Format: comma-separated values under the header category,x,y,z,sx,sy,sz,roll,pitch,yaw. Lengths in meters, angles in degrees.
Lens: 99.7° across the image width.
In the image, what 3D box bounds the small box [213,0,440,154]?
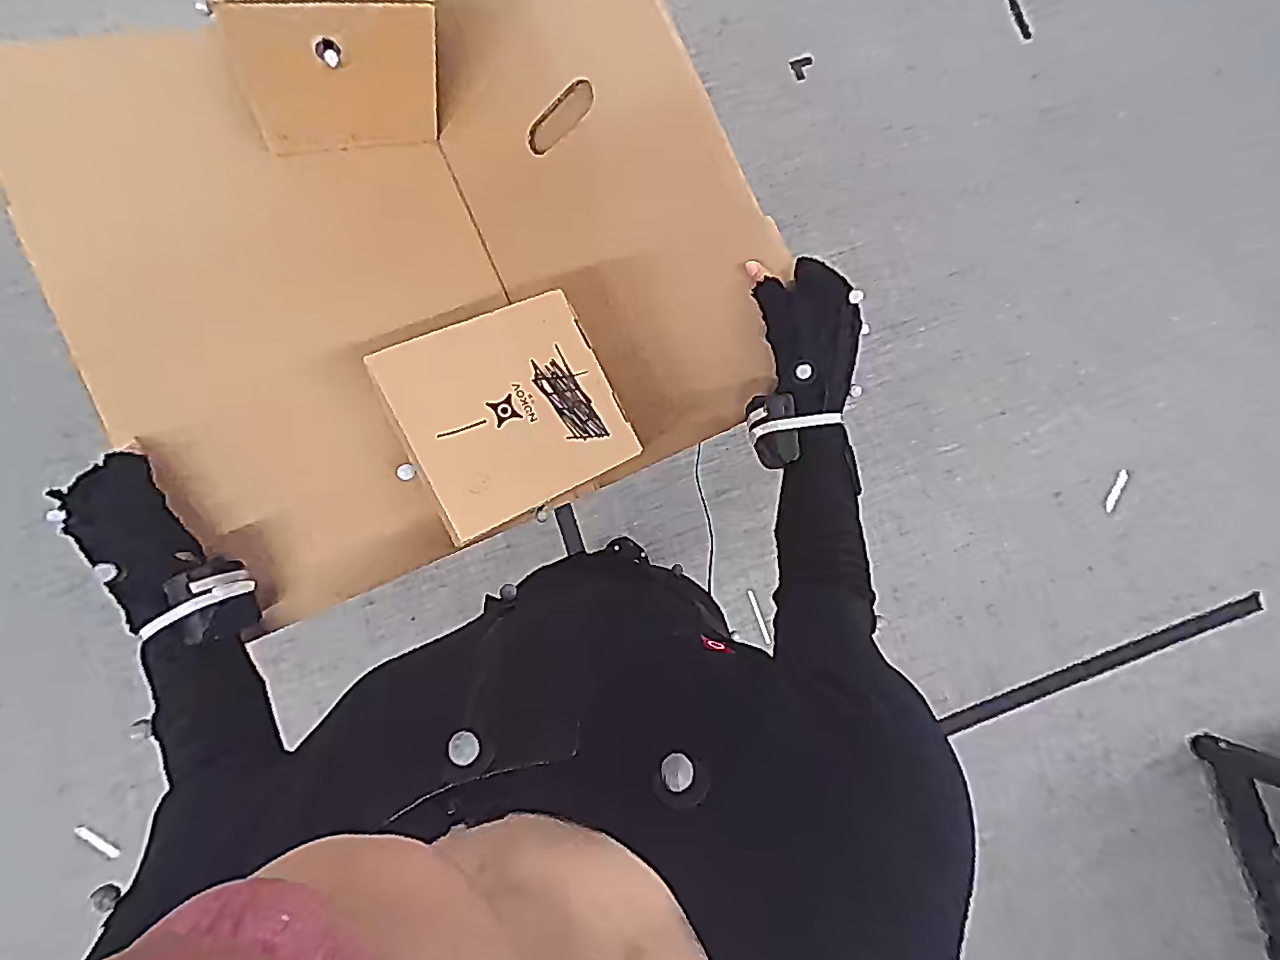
category,x,y,z,sx,sy,sz,roll,pitch,yaw
small box,-0.309,-0.455,0.534,0.179,0.176,0.168,-20,88,-22
